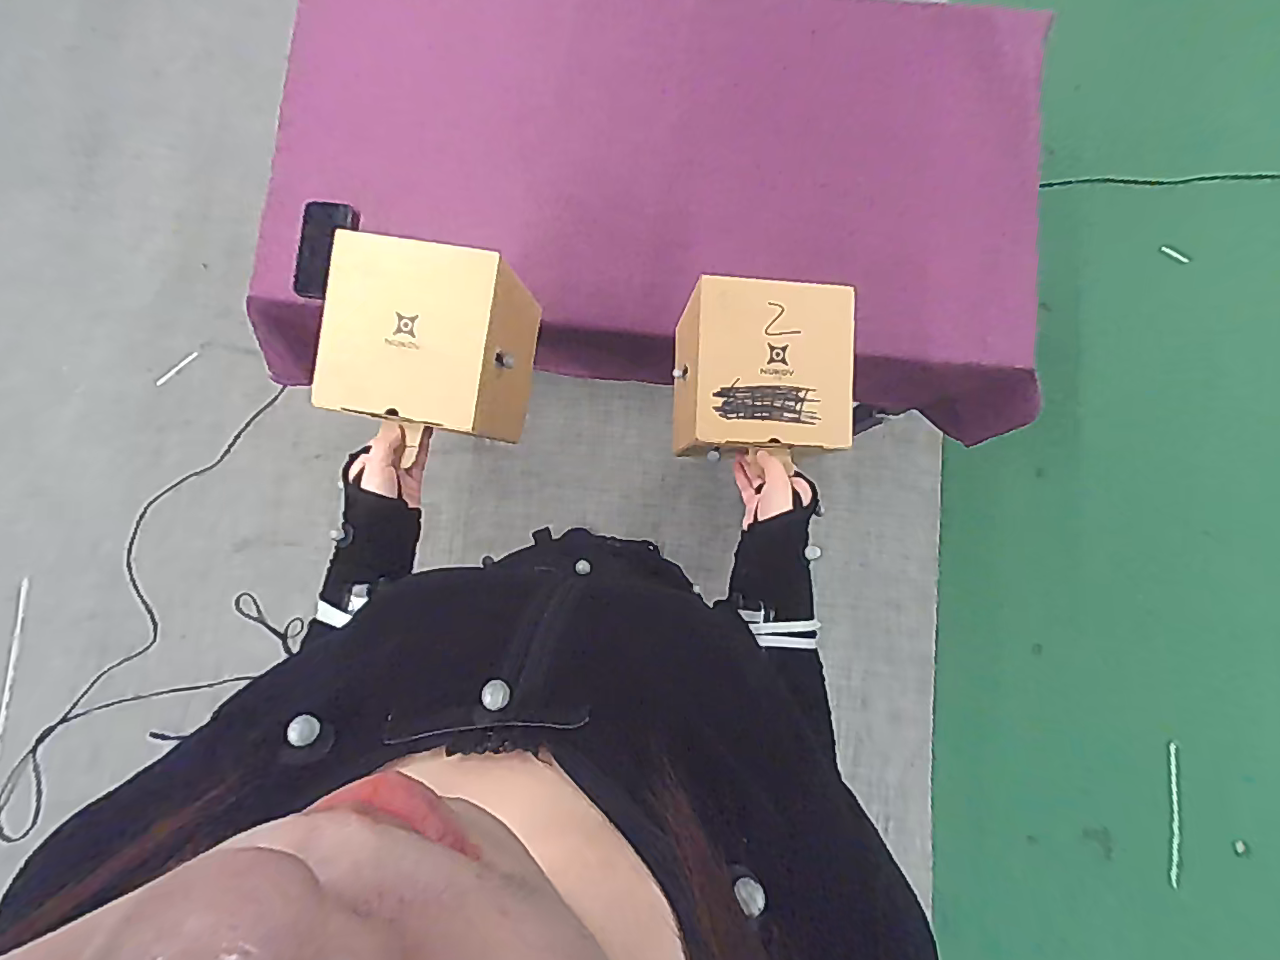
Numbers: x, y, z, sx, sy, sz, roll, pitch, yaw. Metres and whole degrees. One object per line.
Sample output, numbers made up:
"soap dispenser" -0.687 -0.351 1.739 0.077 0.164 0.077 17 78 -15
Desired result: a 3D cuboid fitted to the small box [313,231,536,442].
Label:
"small box" -0.221 -0.143 0.601 0.168 0.176 0.179 10 92 2
